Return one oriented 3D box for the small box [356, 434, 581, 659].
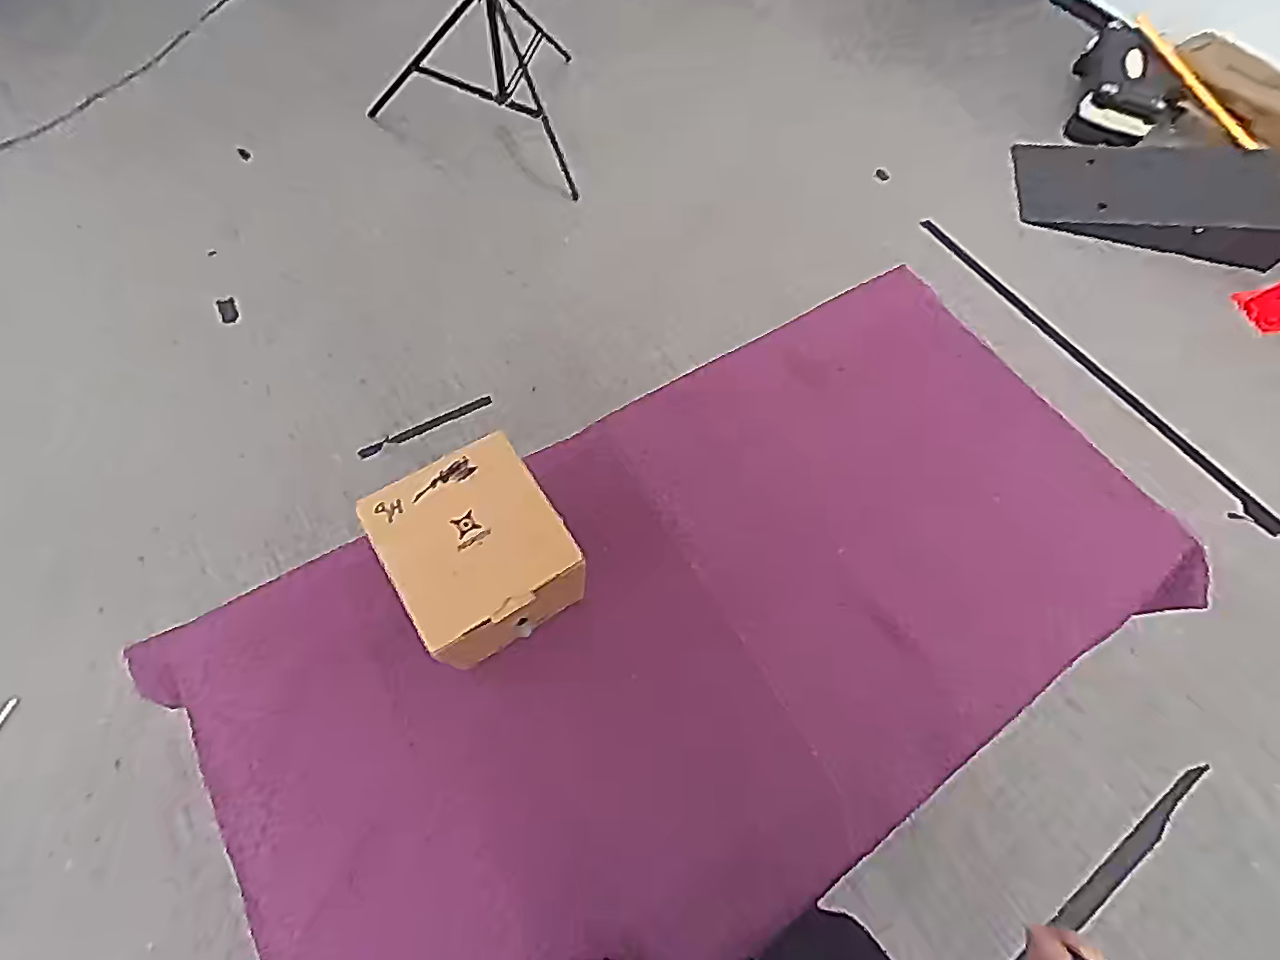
[{"bbox_3d":[-0.177,0.085,0.611,0.168,0.176,0.179,-30,73,-17],"label":"small box"}]
